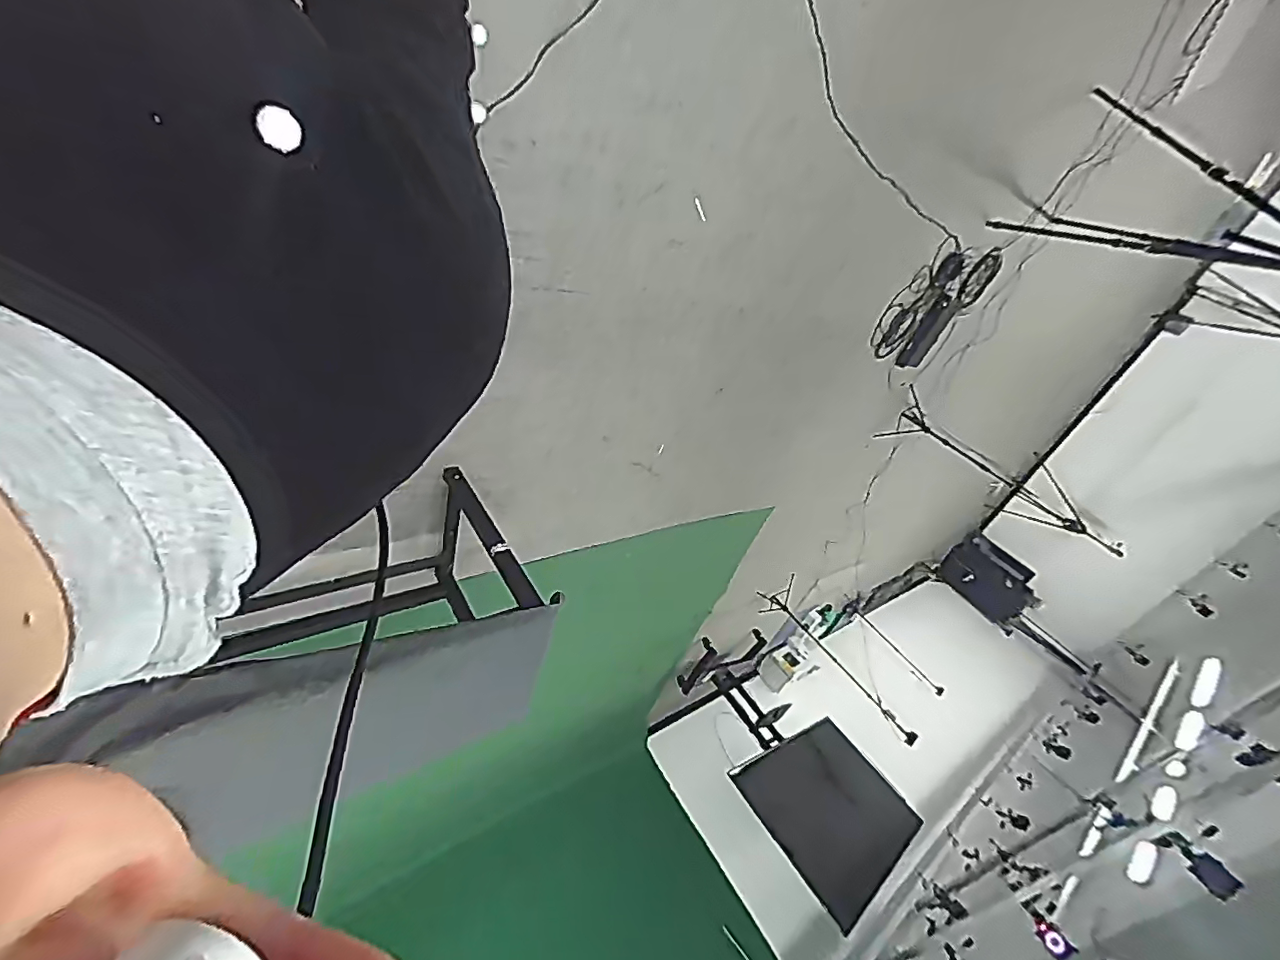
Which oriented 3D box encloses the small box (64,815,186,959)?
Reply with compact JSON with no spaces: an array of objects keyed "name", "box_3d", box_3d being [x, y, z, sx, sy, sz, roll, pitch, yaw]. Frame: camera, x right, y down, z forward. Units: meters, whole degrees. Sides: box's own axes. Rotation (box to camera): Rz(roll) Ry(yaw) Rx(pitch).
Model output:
[{"name":"small box","box_3d":[-1.078,0.846,1.136,0.168,0.176,0.179,-9,135,-40]}]
